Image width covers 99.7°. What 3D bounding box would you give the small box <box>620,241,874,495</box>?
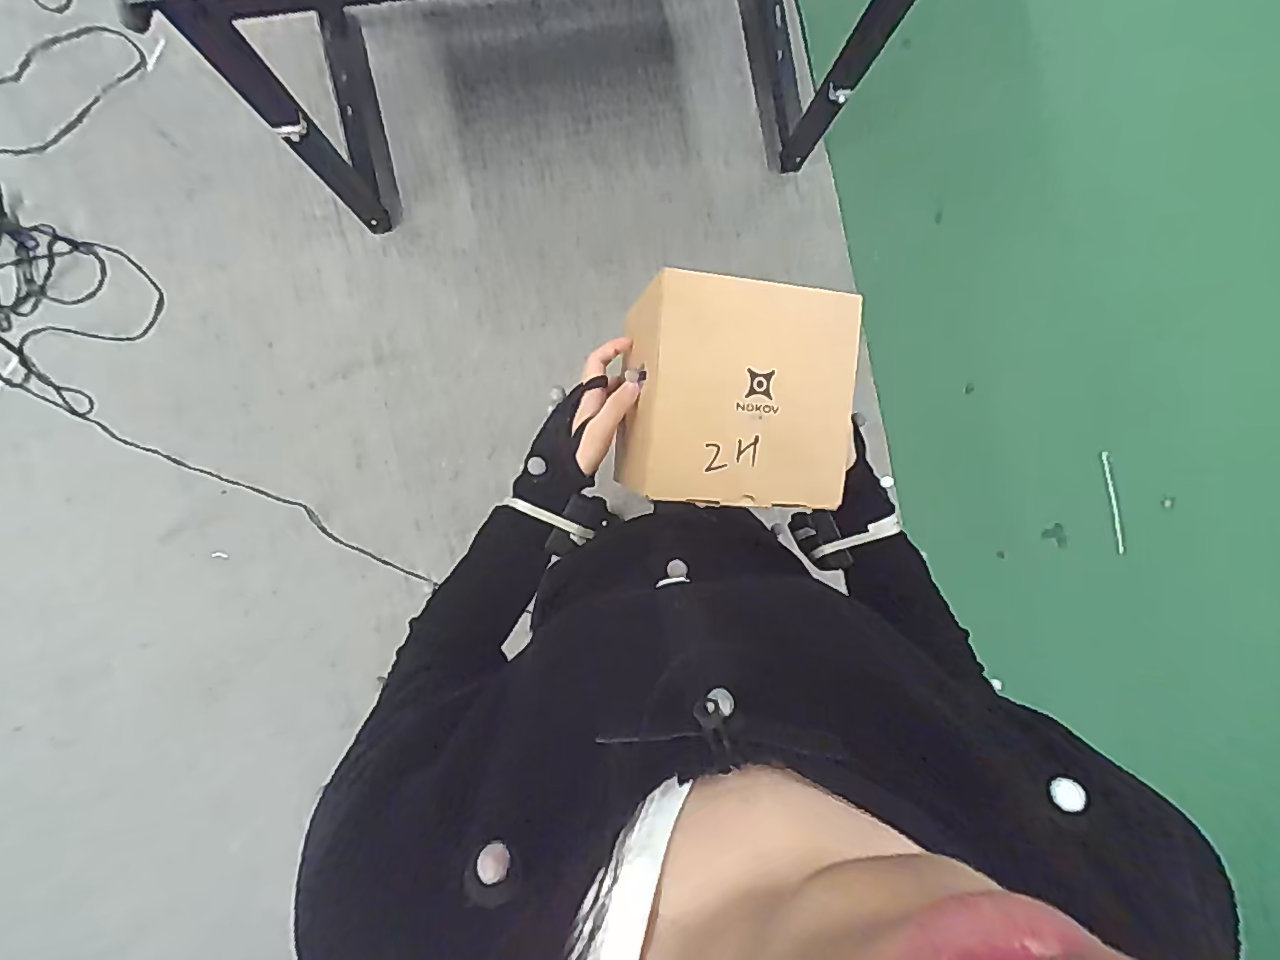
[{"bbox_3d":[0.079,-0.084,0.481,0.168,0.176,0.179,3,94,-12],"label":"small box"}]
